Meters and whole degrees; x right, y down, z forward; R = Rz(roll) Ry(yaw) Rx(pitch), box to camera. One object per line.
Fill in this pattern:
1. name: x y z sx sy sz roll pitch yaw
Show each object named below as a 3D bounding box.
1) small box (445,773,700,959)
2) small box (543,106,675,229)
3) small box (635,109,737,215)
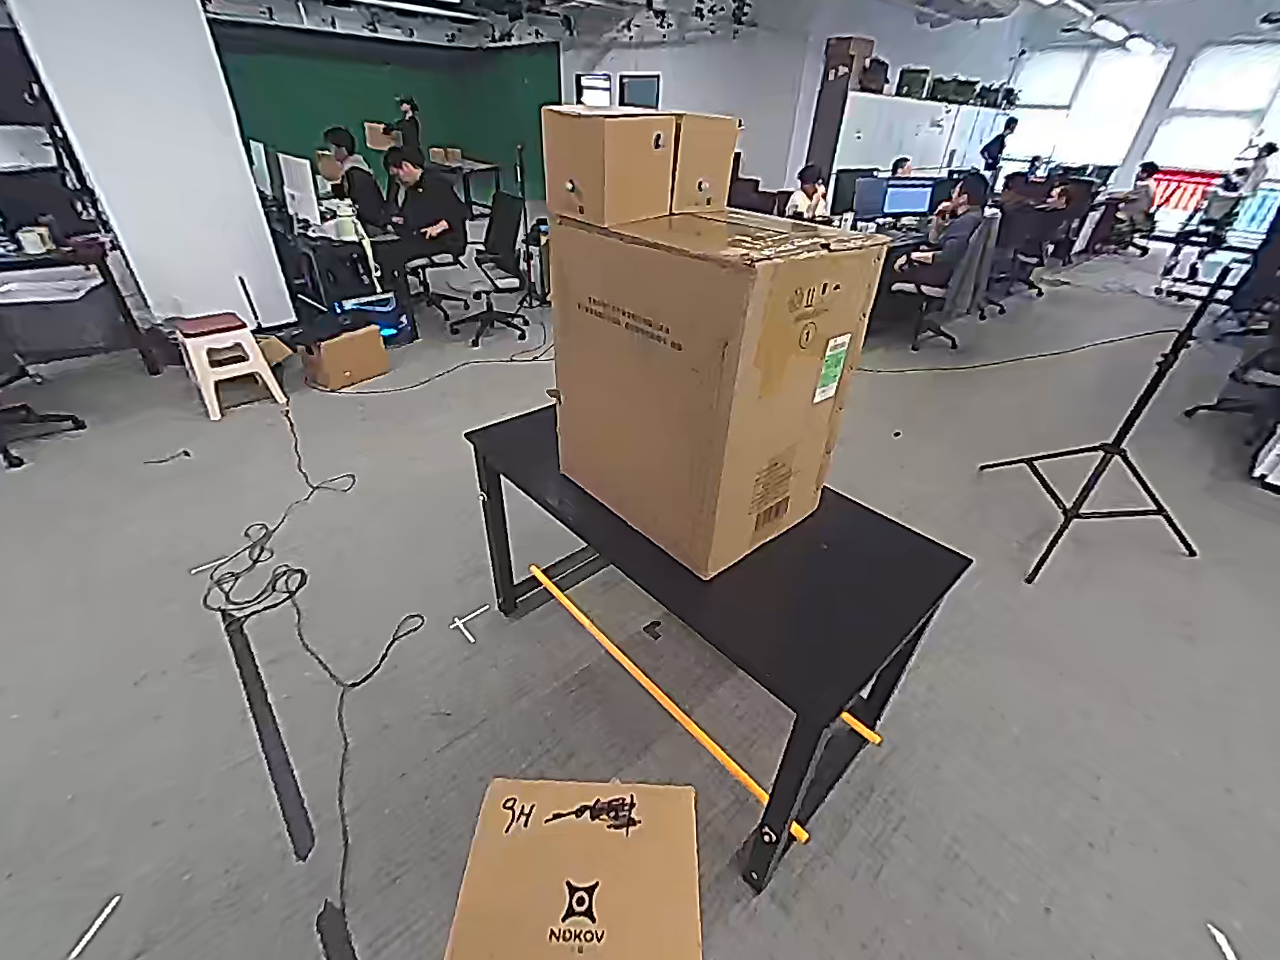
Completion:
1. small box: -0.041 0.352 0.410 0.168 0.176 0.179 1 37 1
2. small box: -0.059 -0.576 0.991 0.168 0.176 0.179 32 47 32
3. small box: 0.068 -0.646 1.102 0.168 0.176 0.179 -24 44 -36
